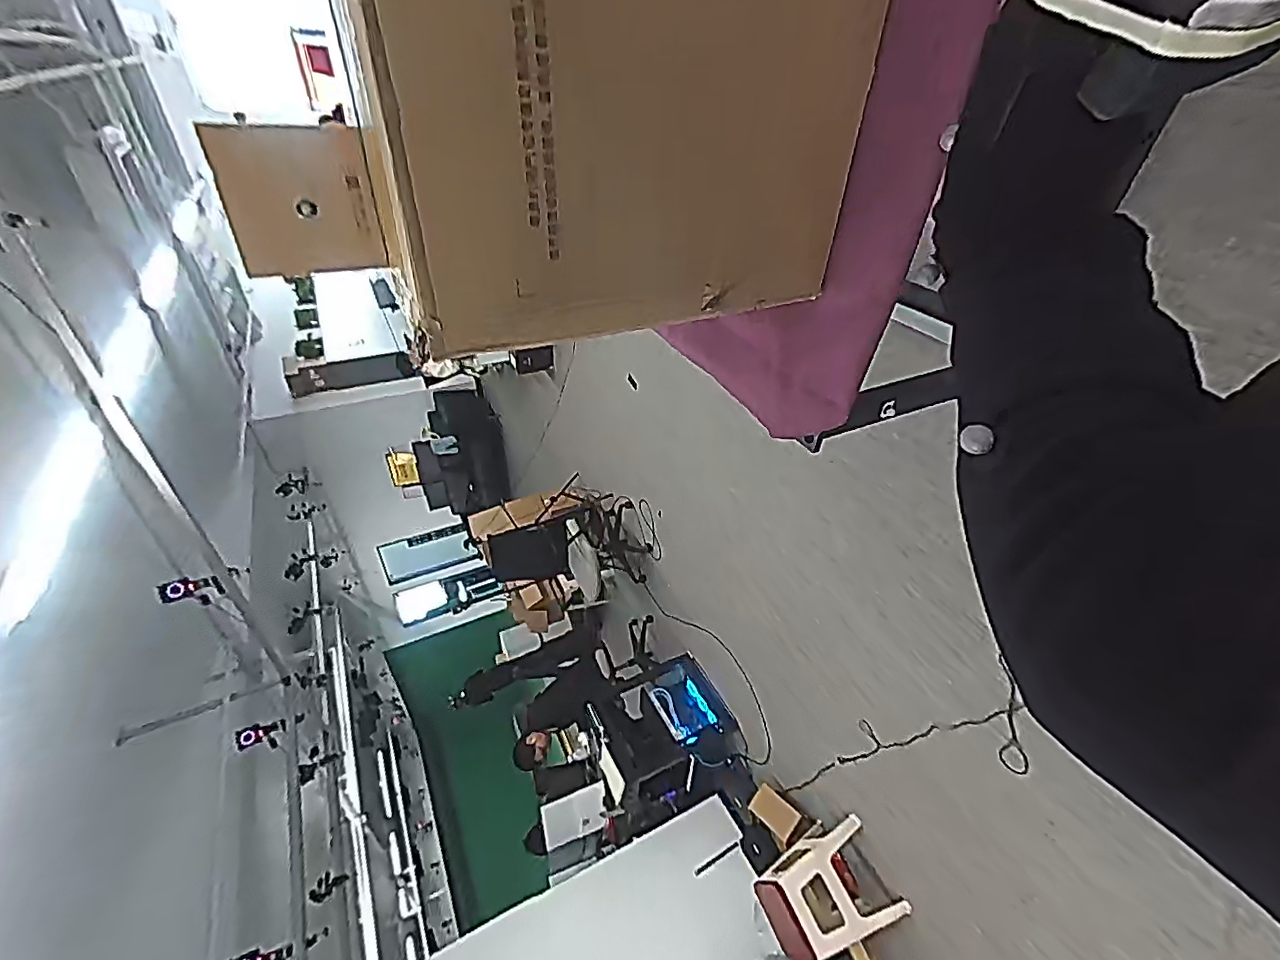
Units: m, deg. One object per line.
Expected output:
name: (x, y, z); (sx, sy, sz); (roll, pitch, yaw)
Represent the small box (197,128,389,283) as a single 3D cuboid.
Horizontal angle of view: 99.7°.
small box: (-0.449, -0.374, 0.726); (0.179, 0.176, 0.168); (44, 142, 49)
